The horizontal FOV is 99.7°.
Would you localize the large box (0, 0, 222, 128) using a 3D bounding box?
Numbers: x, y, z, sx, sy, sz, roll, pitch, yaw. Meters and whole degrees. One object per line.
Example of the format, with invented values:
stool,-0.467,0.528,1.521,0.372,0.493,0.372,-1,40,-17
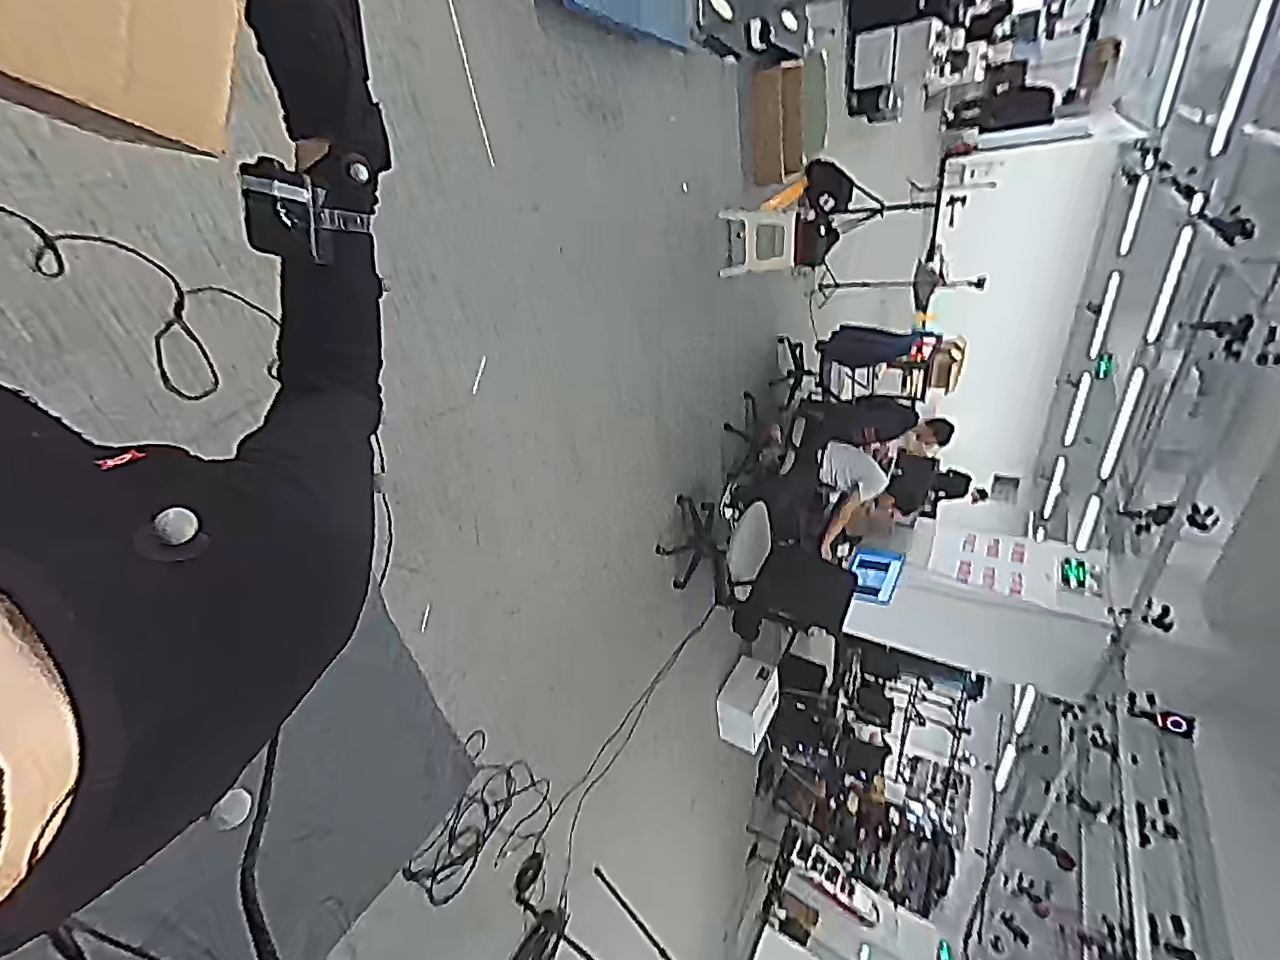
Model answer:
large box,-0.455,-0.414,0.228,0.408,0.320,0.320,0,112,-54
